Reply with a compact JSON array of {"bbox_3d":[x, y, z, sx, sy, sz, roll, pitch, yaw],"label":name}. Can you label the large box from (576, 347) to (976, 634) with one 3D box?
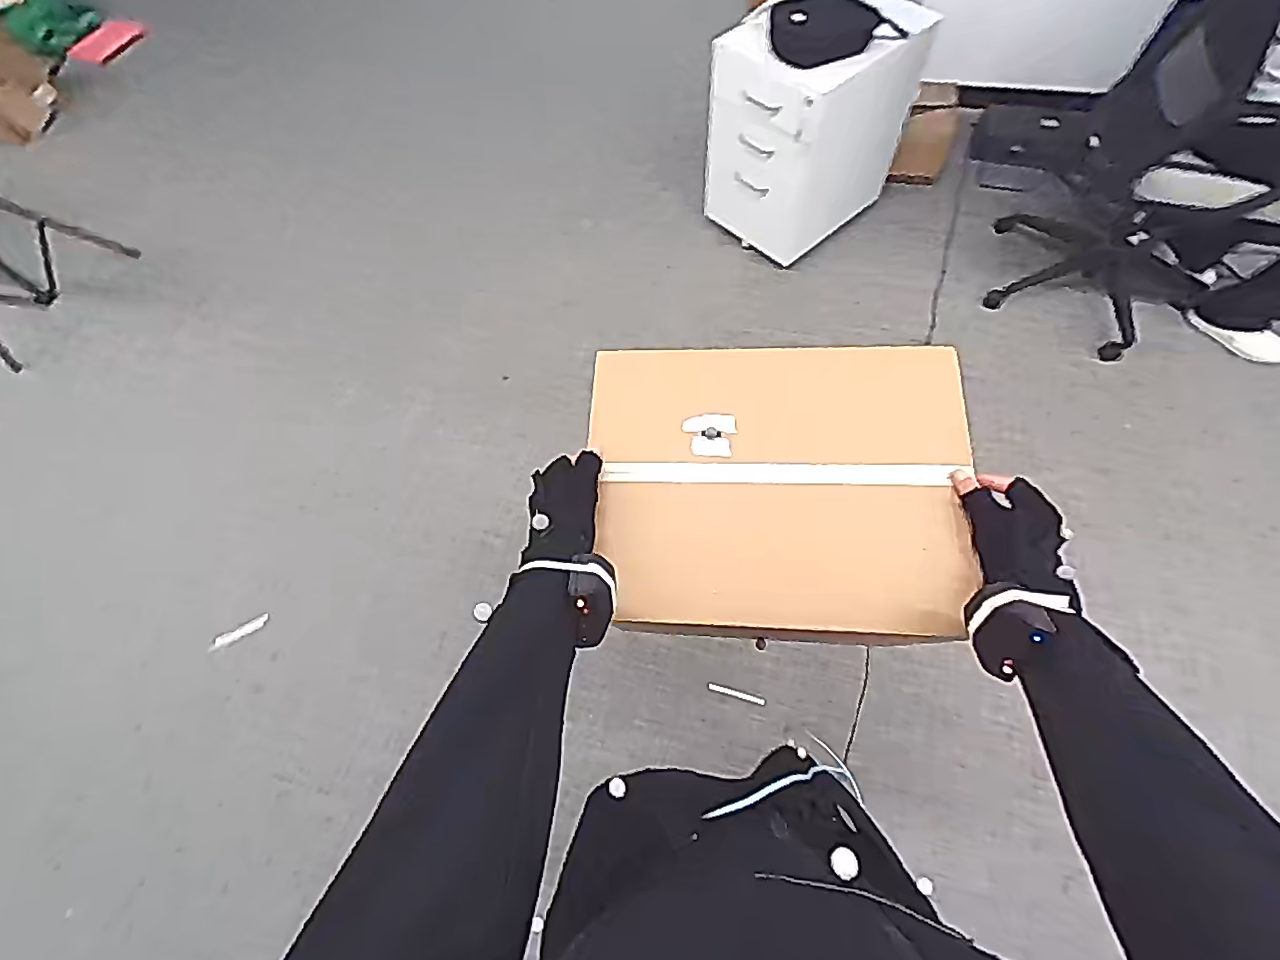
[{"bbox_3d":[0.156,0.041,0.731,0.408,0.320,0.320,0,71,9],"label":"large box"}]
